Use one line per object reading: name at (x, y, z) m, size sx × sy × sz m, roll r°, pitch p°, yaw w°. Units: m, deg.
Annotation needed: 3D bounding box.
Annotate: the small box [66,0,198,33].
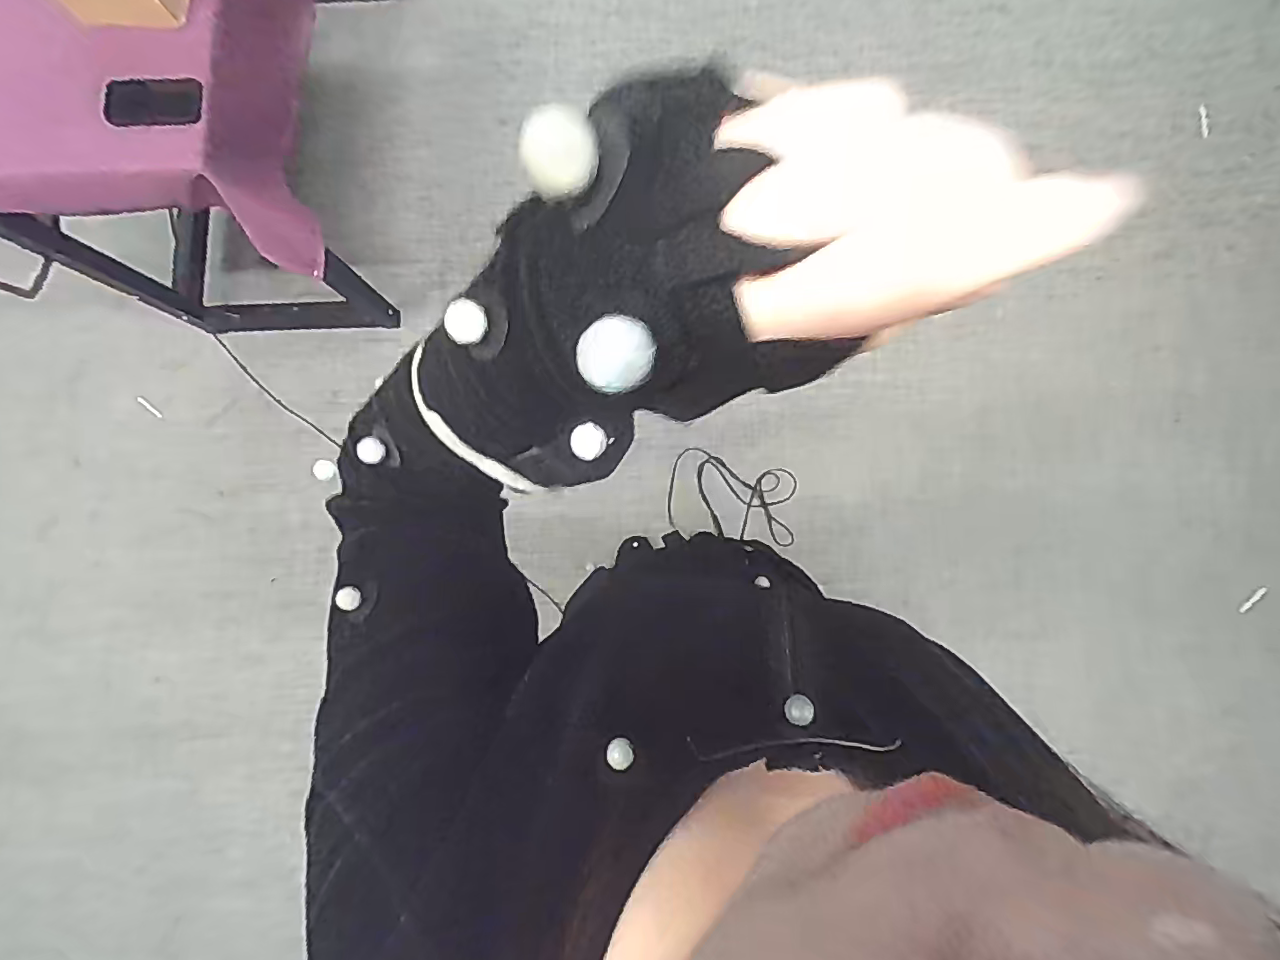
small box at (-0.836, -0.844, 0.841) m, size 0.179 × 0.176 × 0.168 m, roll 3°, pitch 84°, yaw 1°
